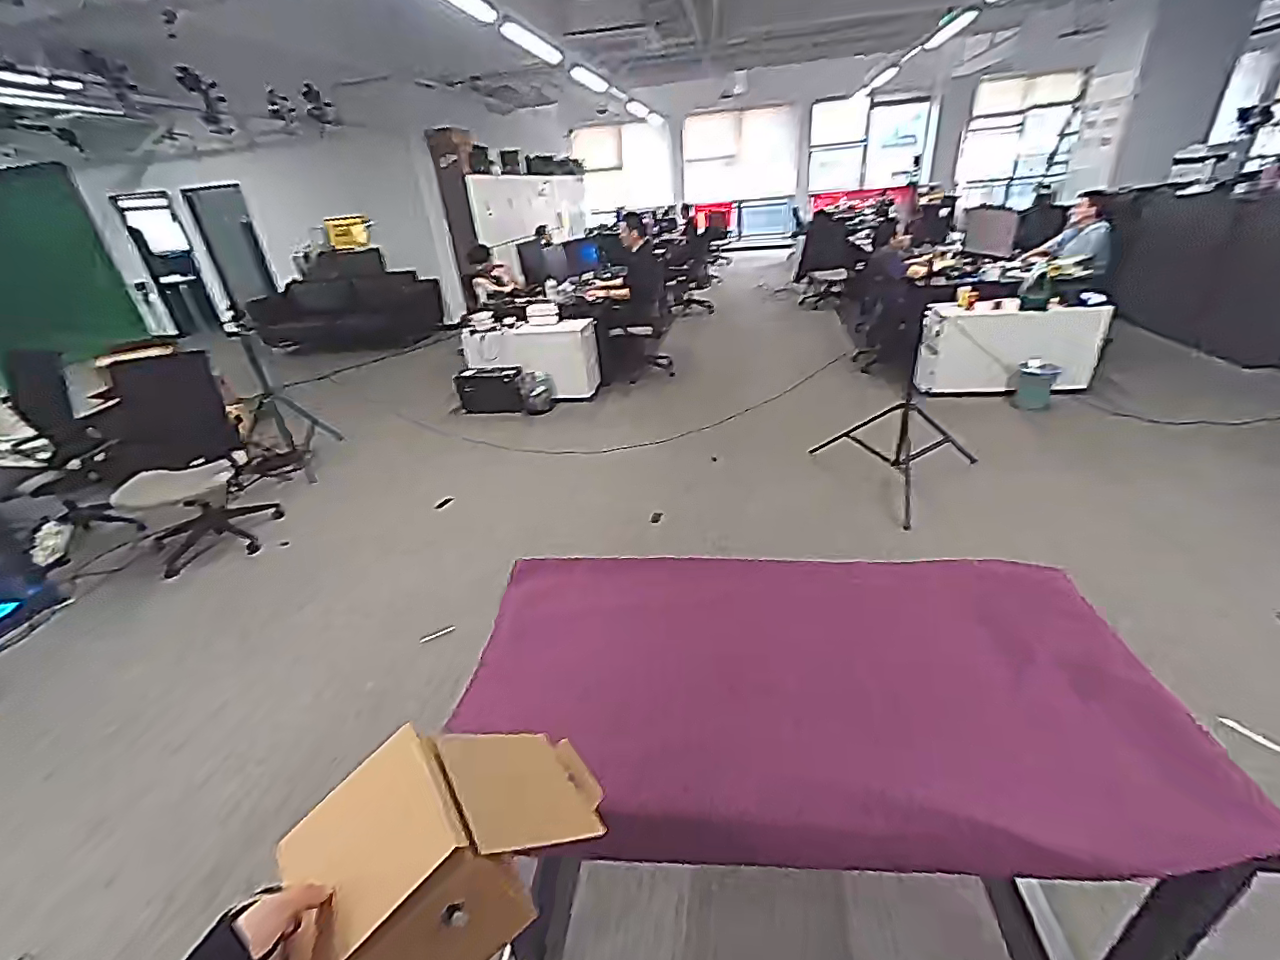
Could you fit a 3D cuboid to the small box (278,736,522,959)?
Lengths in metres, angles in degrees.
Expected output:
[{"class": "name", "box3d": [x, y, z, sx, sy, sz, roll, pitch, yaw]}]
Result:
[{"class": "small box", "box3d": [-0.247, 0.430, 0.584, 0.179, 0.176, 0.168, -32, 37, -22]}]
